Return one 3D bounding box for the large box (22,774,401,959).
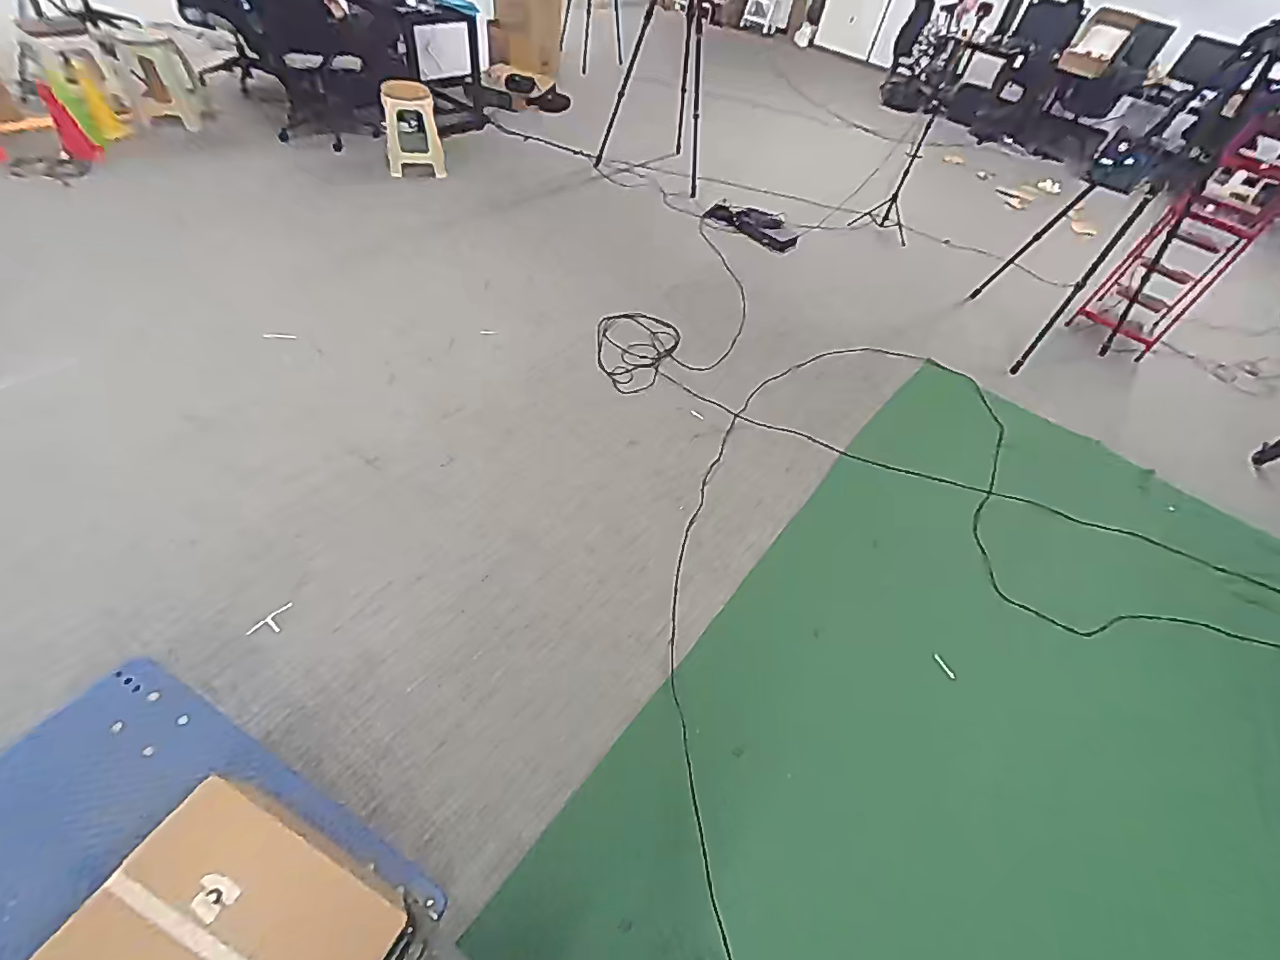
[{"bbox_3d":[-0.669,0.760,0.907,0.408,0.320,0.320,36,51,0],"label":"large box"}]
